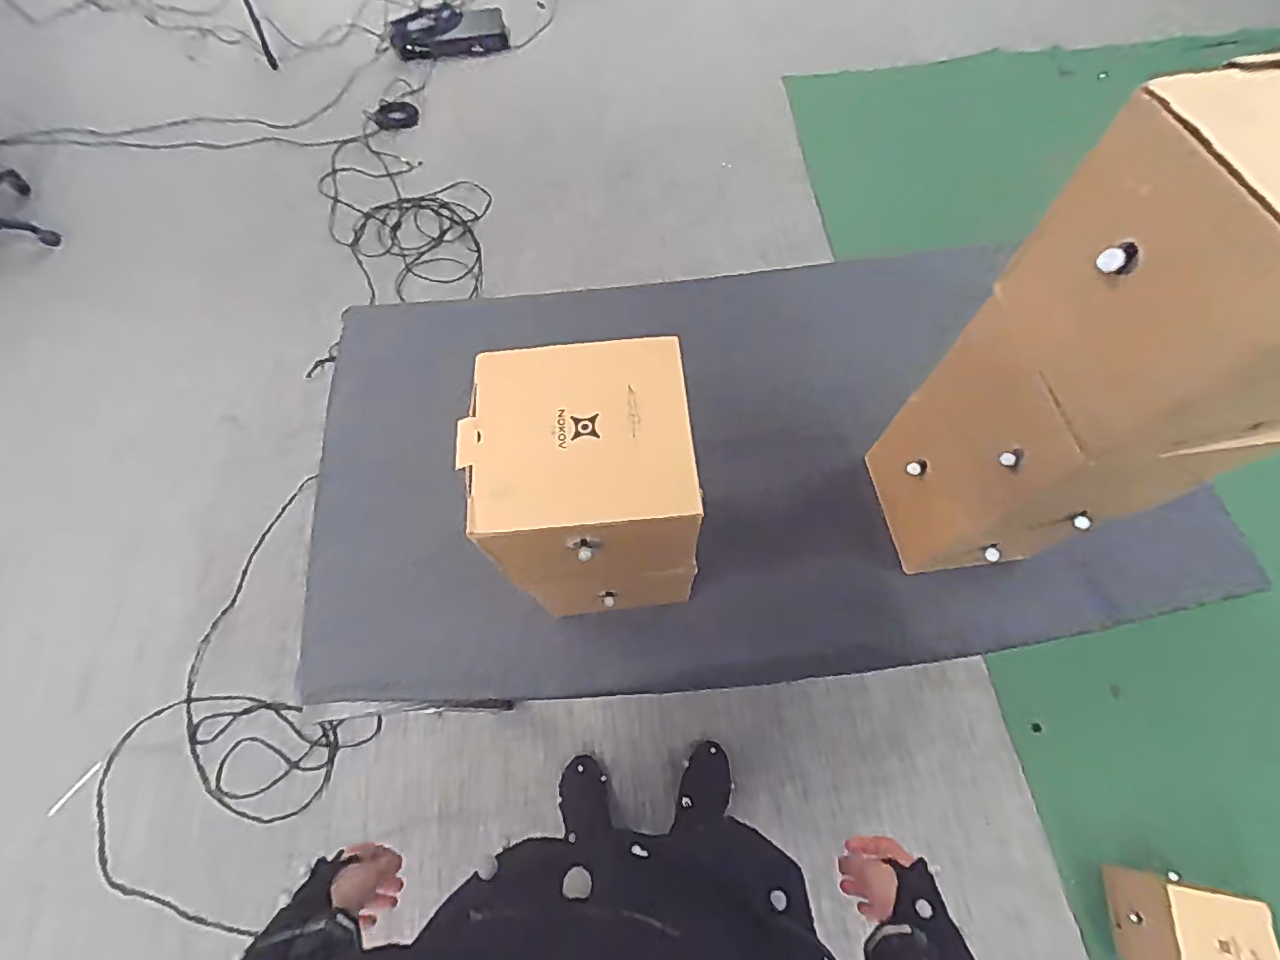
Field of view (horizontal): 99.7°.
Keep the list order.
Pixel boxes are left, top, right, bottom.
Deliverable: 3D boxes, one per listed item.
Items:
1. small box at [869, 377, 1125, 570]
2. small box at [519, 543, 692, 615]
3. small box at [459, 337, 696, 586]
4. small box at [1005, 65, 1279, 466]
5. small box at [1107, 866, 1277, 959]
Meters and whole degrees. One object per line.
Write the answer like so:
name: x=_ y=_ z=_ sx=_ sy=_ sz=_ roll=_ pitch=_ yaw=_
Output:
small box: x=0.403 y=0.003 z=0.650 sx=0.168 sy=0.176 sz=0.179 roll=-7 pitch=65 yaw=-1
small box: x=-0.039 y=0.058 z=0.643 sx=0.179 sy=0.176 sz=0.168 roll=-7 pitch=65 yaw=0
small box: x=-0.048 y=-0.006 z=0.494 sx=0.179 sy=0.176 sz=0.168 roll=-5 pitch=67 yaw=-1
small box: x=0.388 y=-0.132 z=0.351 sx=0.168 sy=0.176 sz=0.179 roll=-10 pitch=65 yaw=-2
small box: x=1.049 y=0.872 z=1.041 sx=0.179 sy=0.176 sz=0.168 roll=8 pitch=68 yaw=5
